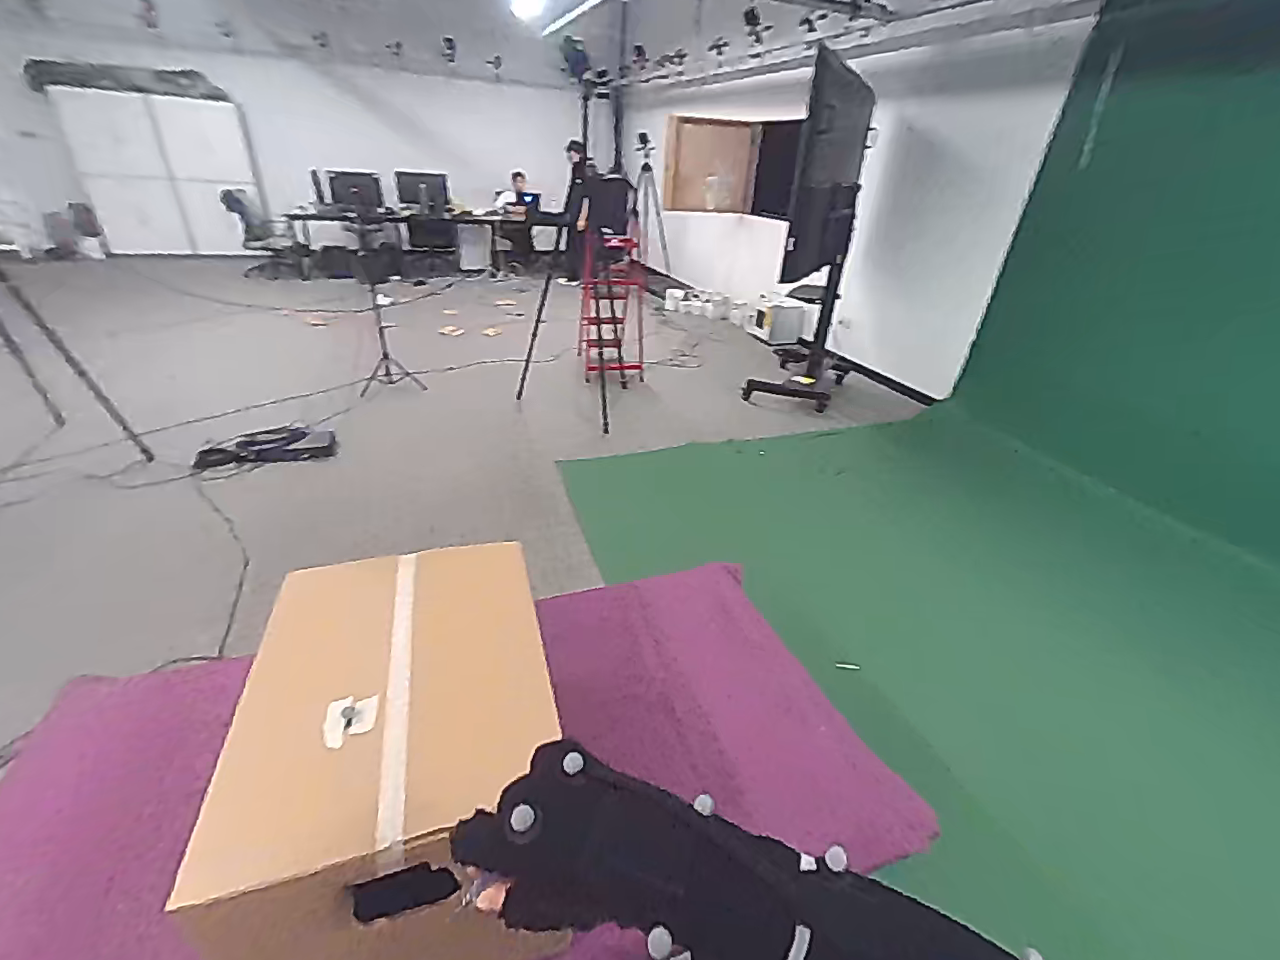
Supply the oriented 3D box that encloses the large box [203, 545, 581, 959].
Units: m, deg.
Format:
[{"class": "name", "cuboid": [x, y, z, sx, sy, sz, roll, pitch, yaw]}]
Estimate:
[{"class": "large box", "cuboid": [-0.276, 0.338, 0.701, 0.320, 0.320, 0.408, -6, 33, -17]}]
